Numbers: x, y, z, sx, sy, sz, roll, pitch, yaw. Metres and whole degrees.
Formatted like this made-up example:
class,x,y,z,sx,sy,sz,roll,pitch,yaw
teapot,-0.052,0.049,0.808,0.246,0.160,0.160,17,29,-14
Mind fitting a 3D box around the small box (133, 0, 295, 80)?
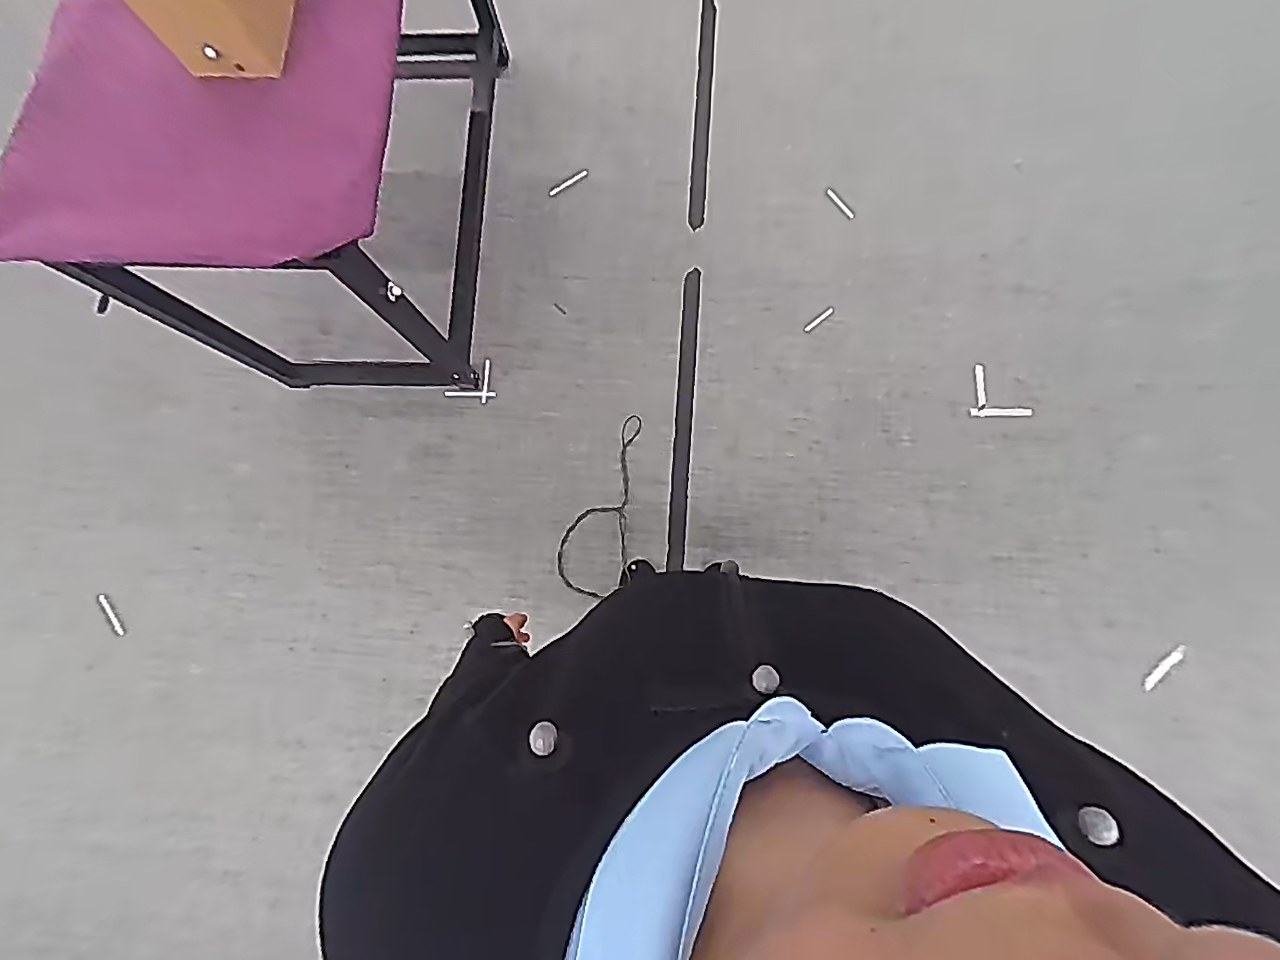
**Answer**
class,x,y,z,sx,sy,sz,roll,pitch,yaw
small box,-0.716,-0.819,0.902,0.168,0.176,0.179,3,81,3
